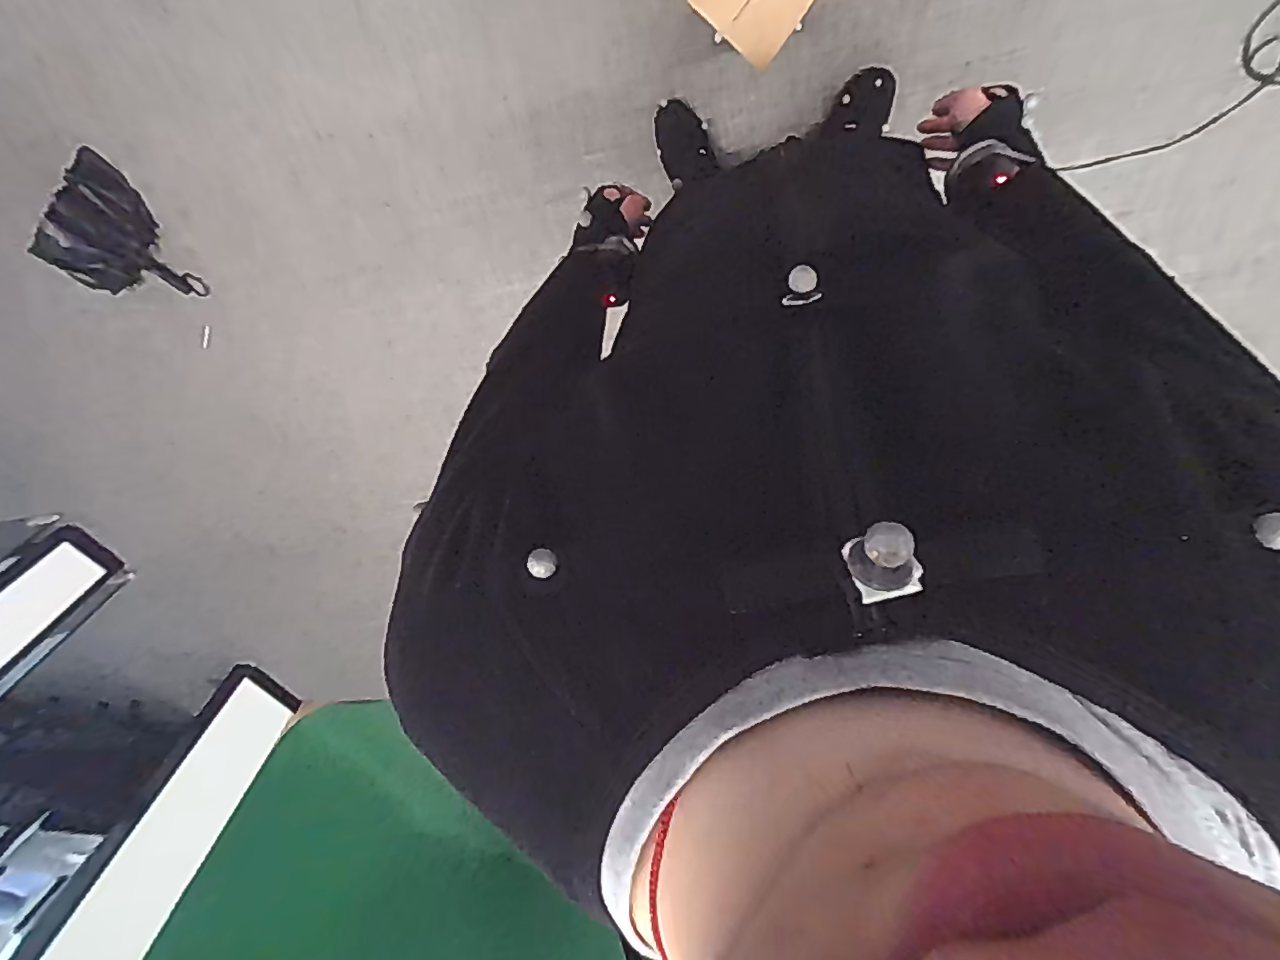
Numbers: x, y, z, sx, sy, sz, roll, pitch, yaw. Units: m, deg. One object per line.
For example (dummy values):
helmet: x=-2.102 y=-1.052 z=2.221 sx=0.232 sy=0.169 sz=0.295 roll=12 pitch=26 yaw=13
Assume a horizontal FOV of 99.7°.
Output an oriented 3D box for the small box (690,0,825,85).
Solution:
small box: x=0.199 y=-0.802 z=0.890 sx=0.168 sy=0.176 sz=0.179 roll=32 pitch=129 yaw=-17
